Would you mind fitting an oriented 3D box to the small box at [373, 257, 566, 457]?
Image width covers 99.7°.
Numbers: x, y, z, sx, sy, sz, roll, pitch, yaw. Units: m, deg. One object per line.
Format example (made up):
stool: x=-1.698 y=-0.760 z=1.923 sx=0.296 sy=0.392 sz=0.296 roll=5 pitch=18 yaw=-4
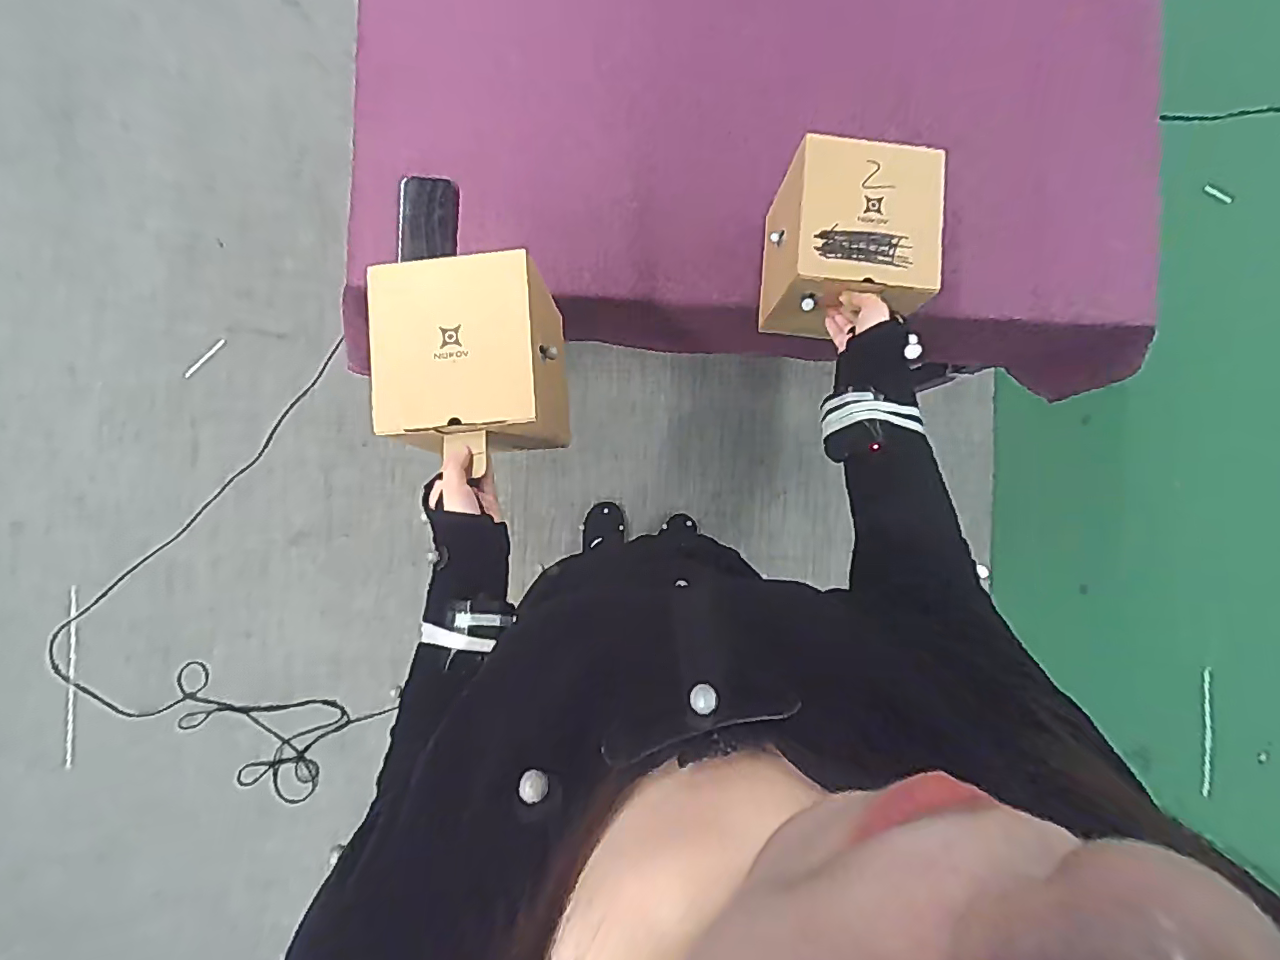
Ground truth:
small box: x=-0.184 y=-0.128 z=0.623 sx=0.168 sy=0.176 sz=0.179 roll=-5 pitch=85 yaw=3
